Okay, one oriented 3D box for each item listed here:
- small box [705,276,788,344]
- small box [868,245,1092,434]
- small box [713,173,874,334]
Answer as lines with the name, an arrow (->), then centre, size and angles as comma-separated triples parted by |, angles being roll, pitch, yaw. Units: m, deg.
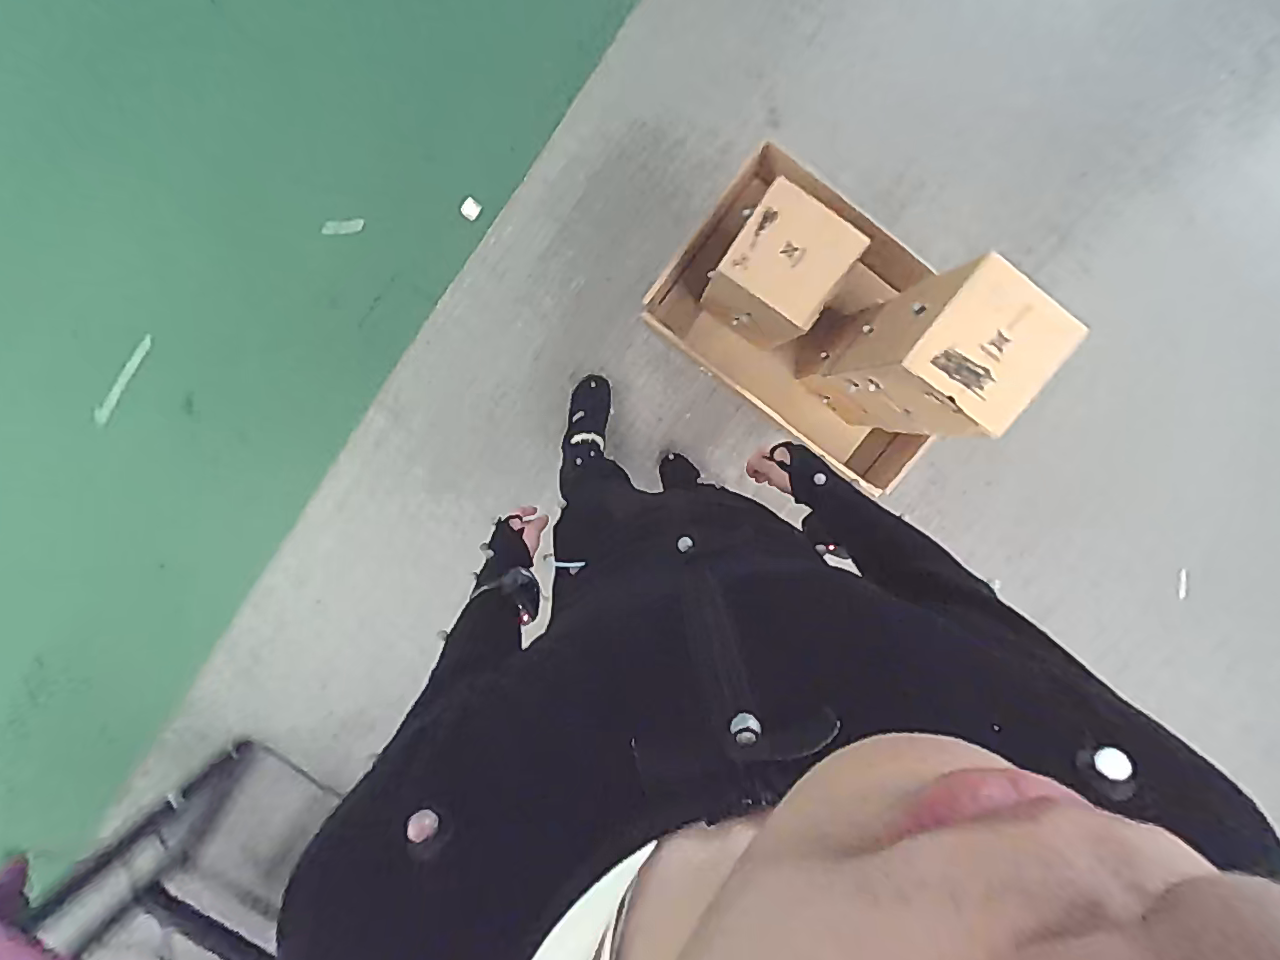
small box -> 0.245, -0.384, 1.065 | 0.179, 0.176, 0.168 | 36, 97, -5
small box -> 0.451, -0.183, 0.756 | 0.168, 0.176, 0.179 | 38, 96, -4
small box -> 0.242, -0.361, 0.903 | 0.179, 0.176, 0.168 | 34, 97, -4
